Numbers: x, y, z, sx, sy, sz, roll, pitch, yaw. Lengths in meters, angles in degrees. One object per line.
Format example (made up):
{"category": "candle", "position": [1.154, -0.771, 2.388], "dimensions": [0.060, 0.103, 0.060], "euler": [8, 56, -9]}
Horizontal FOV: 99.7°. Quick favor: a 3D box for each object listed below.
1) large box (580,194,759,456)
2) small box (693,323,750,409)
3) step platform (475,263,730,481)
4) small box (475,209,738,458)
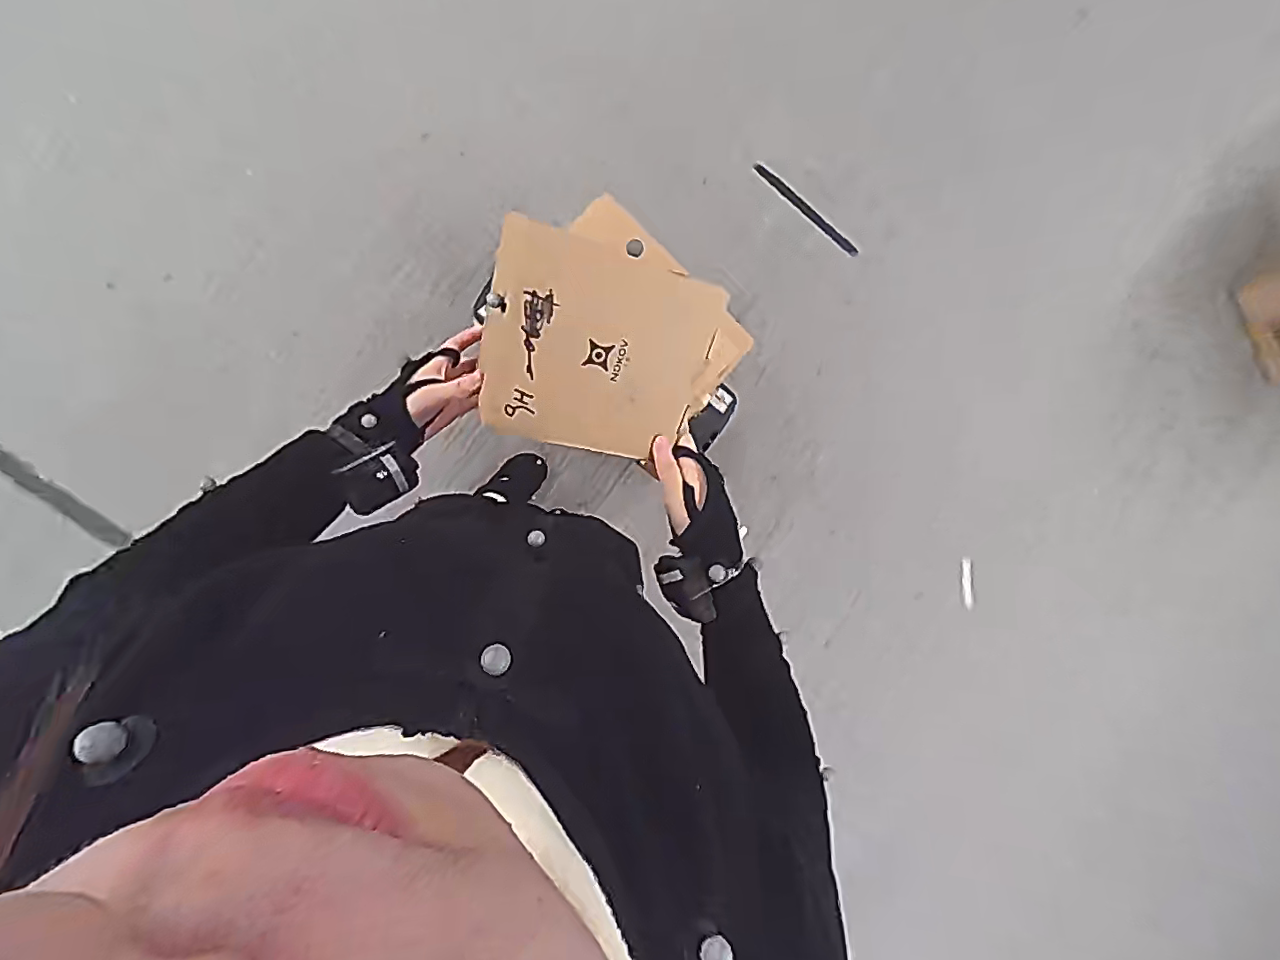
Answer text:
{"category": "large box", "position": [-0.032, -0.292, 1.155], "dimensions": [0.408, 0.320, 0.320], "euler": [43, 85, -7]}
{"category": "small box", "position": [0.050, -0.214, 0.923], "dimensions": [0.168, 0.176, 0.179], "euler": [-45, 97, -4]}
{"category": "step platform", "position": [-0.090, -0.314, 1.387], "dimensions": [0.684, 0.204, 0.286], "euler": [45, 85, -7]}
{"category": "small box", "position": [-0.046, -0.139, 0.500], "dimensions": [0.179, 0.176, 0.168], "euler": [9, 113, -24]}
